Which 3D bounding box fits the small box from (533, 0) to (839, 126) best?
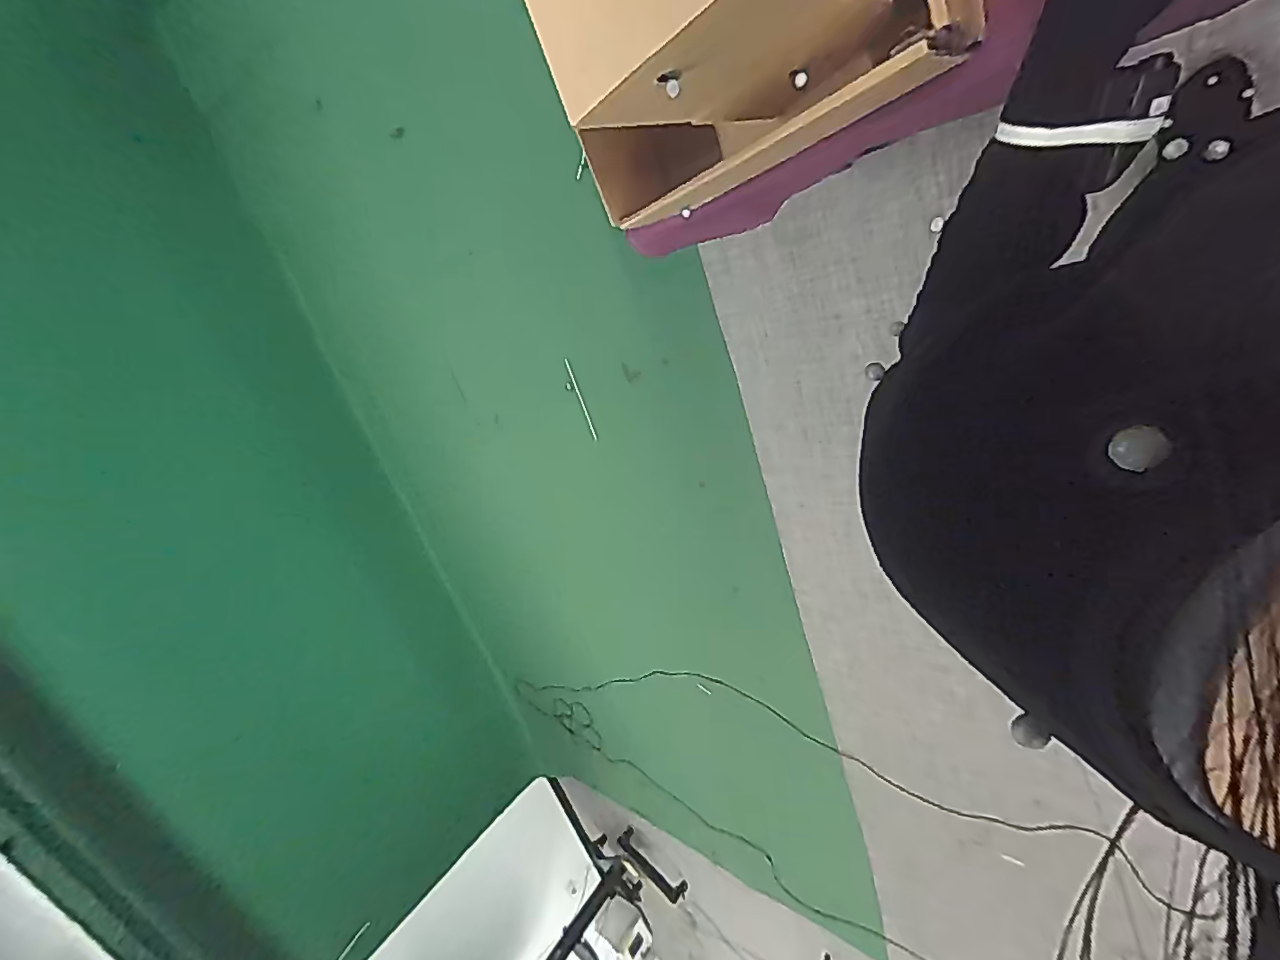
[{"bbox_3d":[0.030,-0.405,0.422,0.179,0.176,0.168,-3,115,46],"label":"small box"}]
